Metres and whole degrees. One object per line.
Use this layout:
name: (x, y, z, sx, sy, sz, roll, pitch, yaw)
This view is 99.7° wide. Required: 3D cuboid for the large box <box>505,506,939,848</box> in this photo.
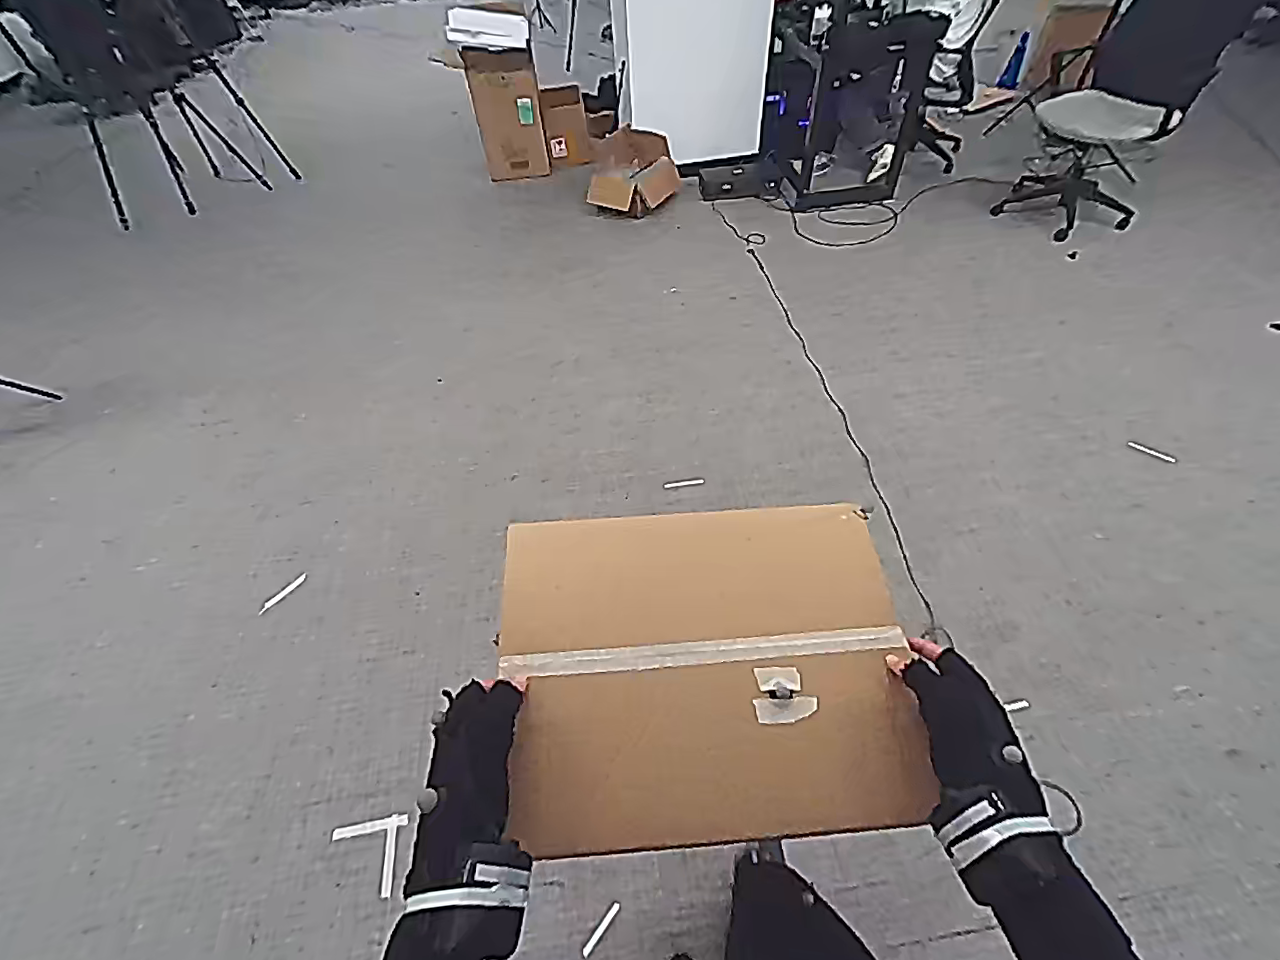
large box: (0.061, 0.254, 0.683, 0.408, 0.320, 0.320, -4, 58, -3)
